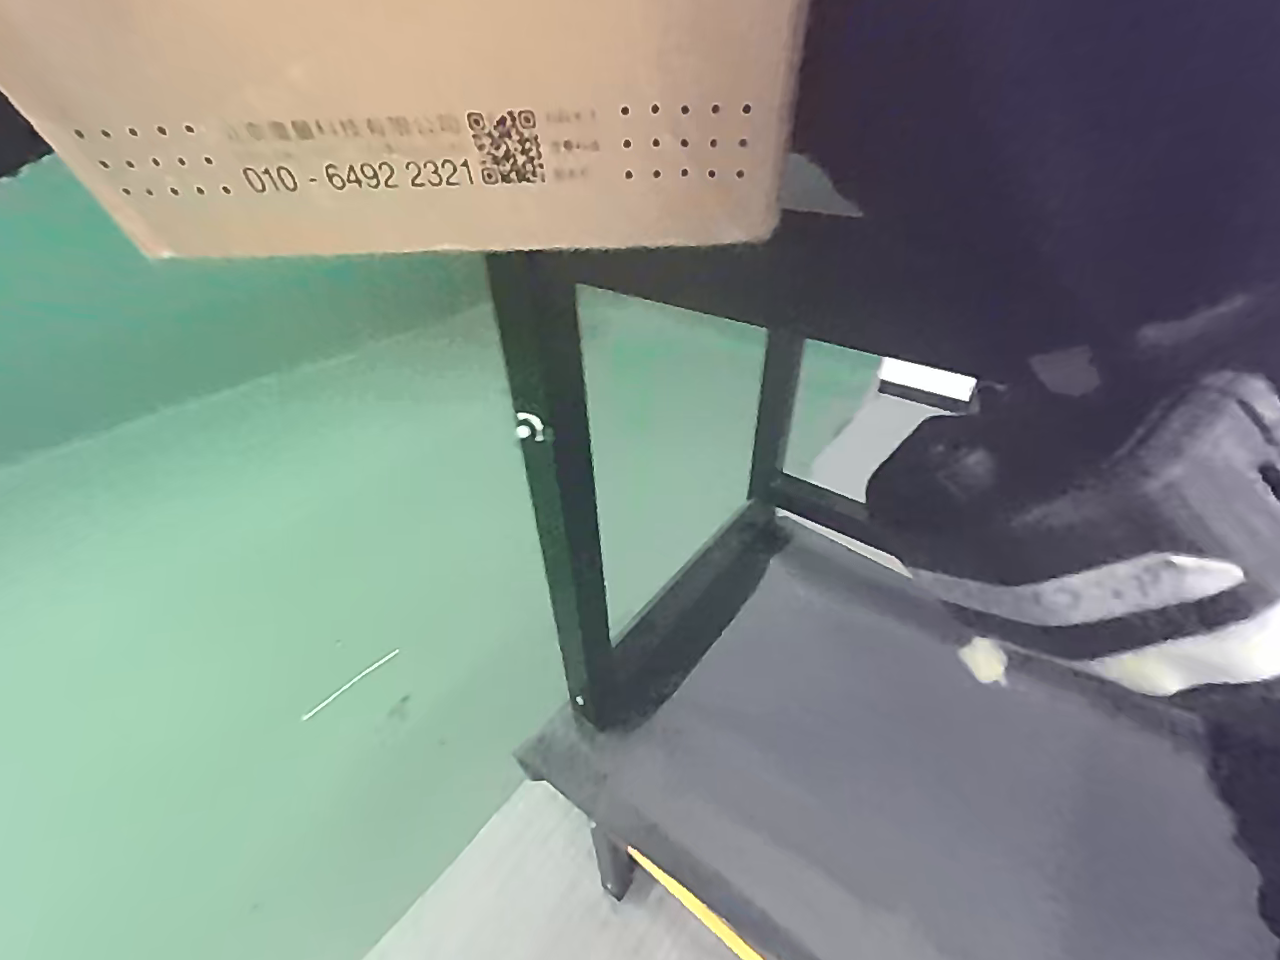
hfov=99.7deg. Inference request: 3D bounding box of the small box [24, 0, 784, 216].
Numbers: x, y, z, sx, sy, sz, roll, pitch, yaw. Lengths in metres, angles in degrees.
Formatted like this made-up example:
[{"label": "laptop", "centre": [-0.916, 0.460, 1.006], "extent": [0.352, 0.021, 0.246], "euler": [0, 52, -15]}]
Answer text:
[{"label": "small box", "centre": [-0.051, -0.183, 0.131], "extent": [0.168, 0.176, 0.179], "euler": [-1, 53, 3]}]
